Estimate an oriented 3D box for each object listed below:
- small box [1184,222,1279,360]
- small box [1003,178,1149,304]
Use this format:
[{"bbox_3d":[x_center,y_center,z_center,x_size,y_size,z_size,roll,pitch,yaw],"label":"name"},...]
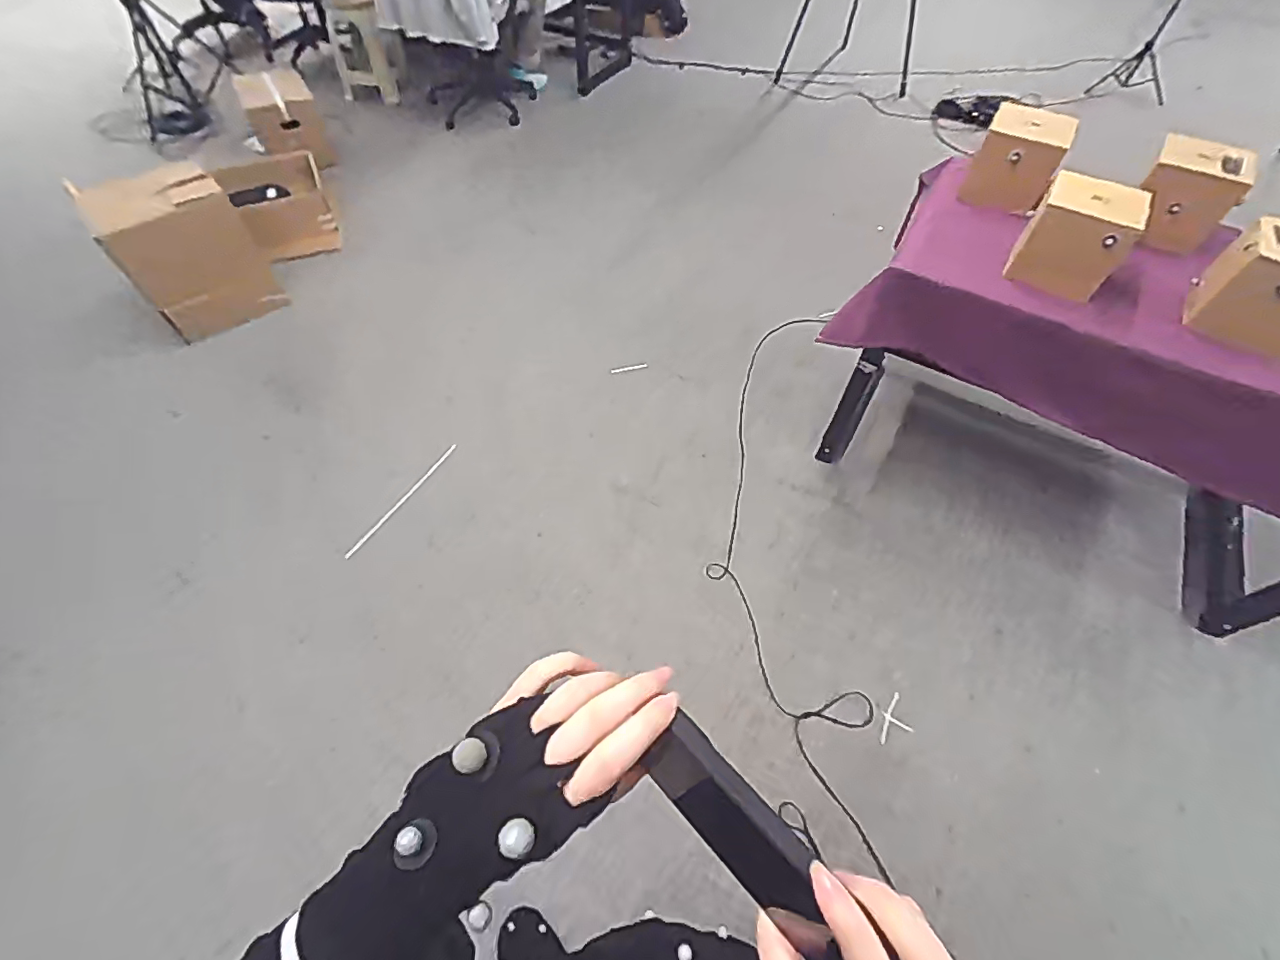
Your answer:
[{"bbox_3d":[1.226,-0.363,1.054,0.179,0.176,0.168,30,61,18],"label":"small box"},{"bbox_3d":[0.918,-0.505,1.152,0.179,0.176,0.168,29,60,17],"label":"small box"}]
